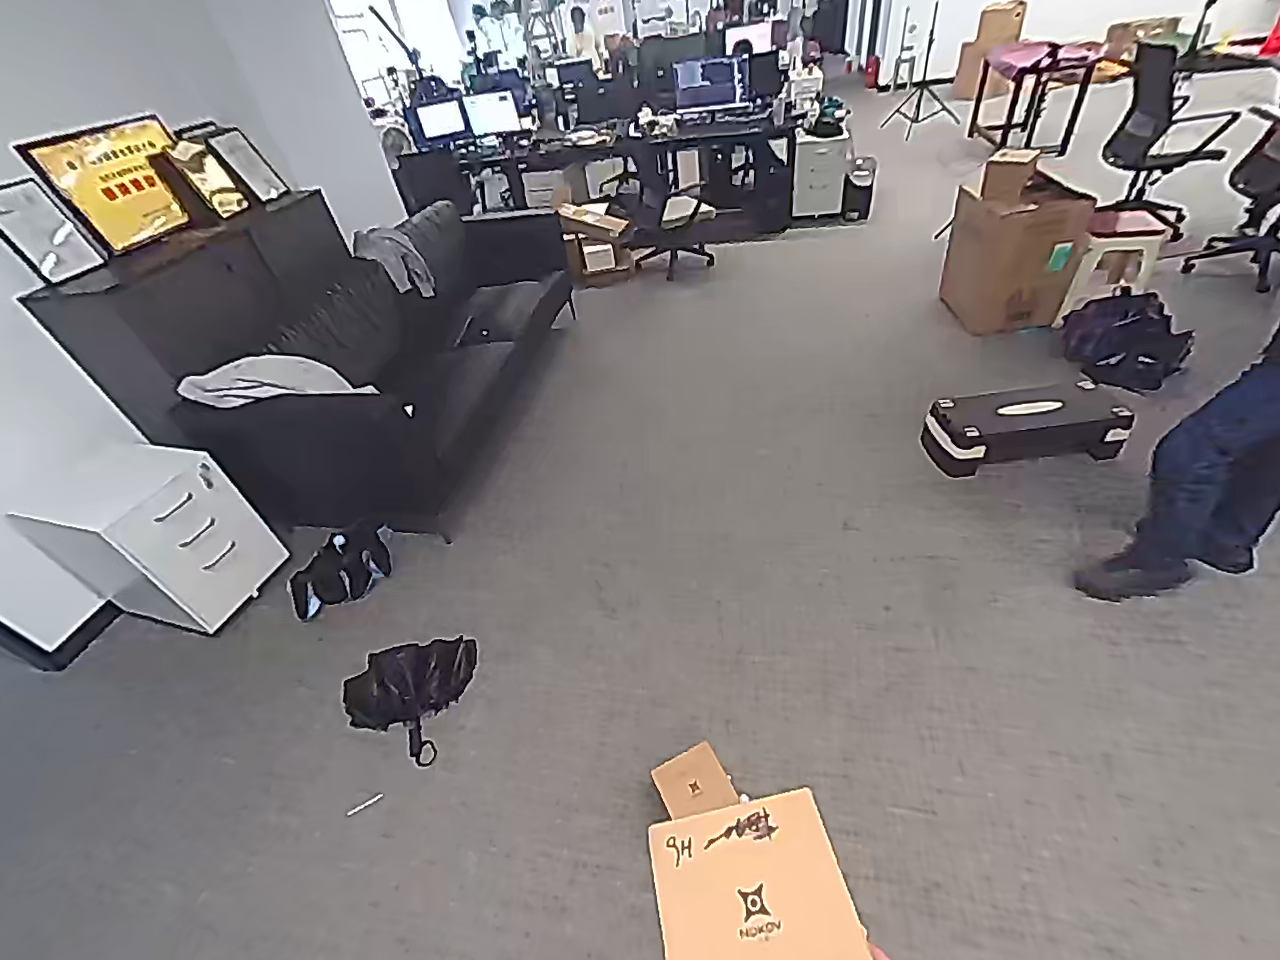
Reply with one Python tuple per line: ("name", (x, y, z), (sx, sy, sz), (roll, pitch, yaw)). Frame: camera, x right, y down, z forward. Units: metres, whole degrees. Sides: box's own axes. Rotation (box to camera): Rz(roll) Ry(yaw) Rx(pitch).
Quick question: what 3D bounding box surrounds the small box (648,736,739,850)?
("small box", (0.138, 0.798, 1.368), (0.168, 0.176, 0.179), (-22, 41, -15))
